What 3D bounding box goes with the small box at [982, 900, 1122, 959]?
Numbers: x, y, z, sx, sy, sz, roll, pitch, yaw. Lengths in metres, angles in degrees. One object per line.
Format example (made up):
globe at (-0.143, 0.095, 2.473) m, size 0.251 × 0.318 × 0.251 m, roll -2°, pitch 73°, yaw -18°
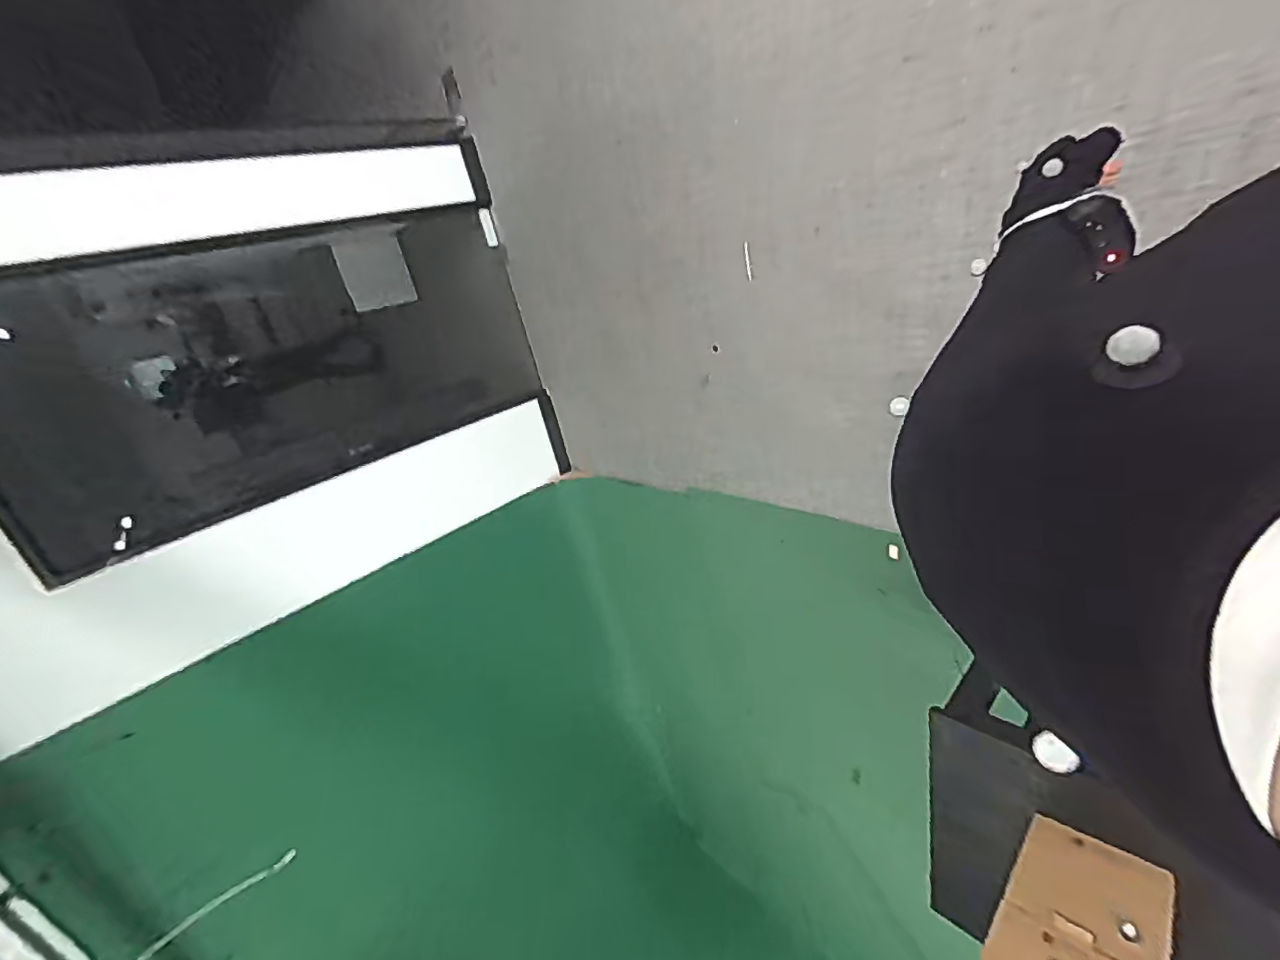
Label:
small box at (0.564, 0.729, 0.718) m, size 0.168 × 0.176 × 0.179 m, roll 2°, pitch 117°, yaw 50°
